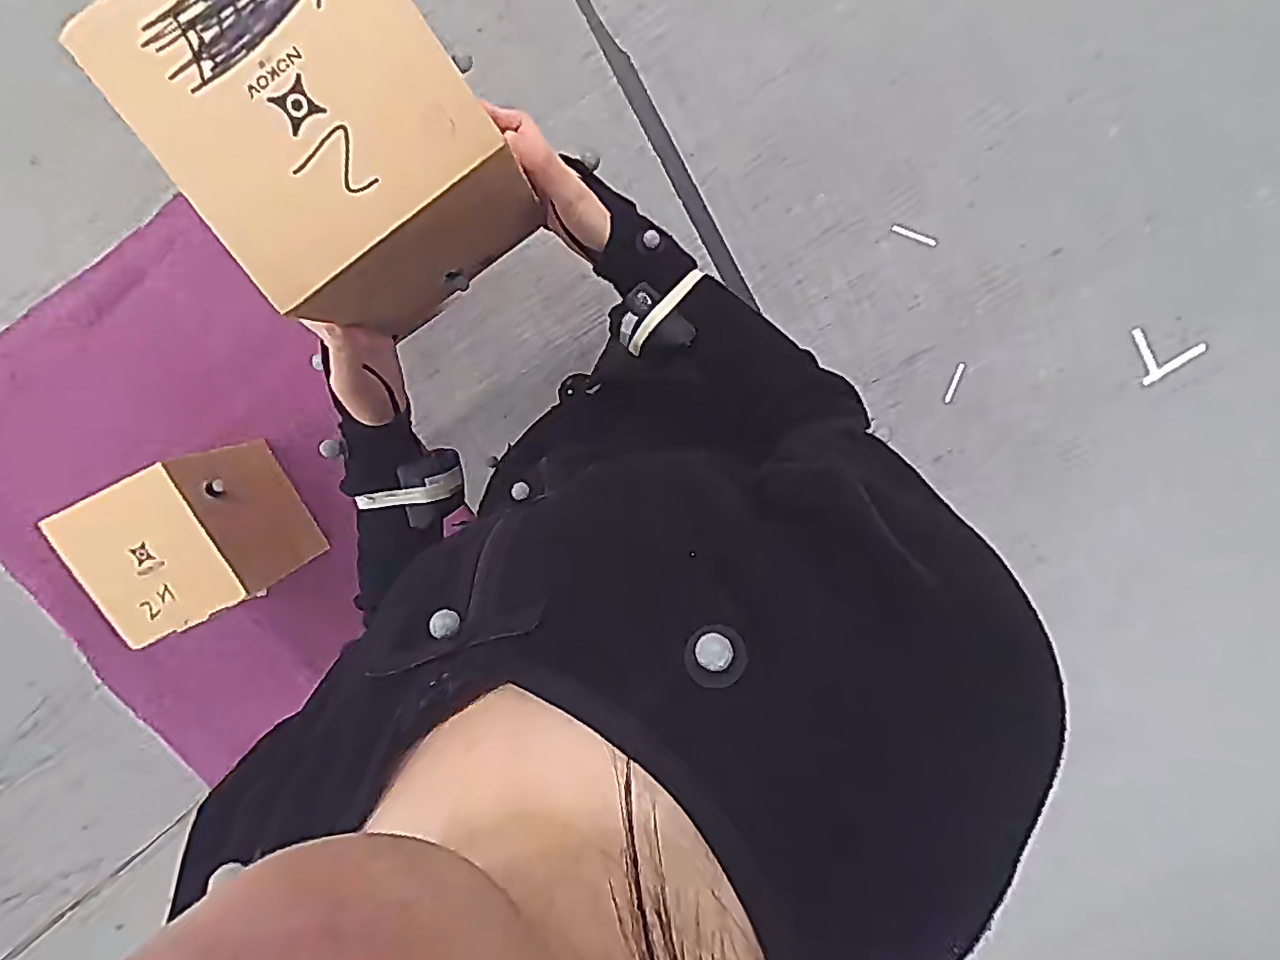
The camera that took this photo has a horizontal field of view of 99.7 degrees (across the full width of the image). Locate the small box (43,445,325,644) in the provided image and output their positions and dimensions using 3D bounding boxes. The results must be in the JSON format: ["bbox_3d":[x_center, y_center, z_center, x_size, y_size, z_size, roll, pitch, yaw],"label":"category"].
[{"bbox_3d":[-0.552,0.066,0.684,0.168,0.176,0.179,-24,103,6],"label":"small box"}]
